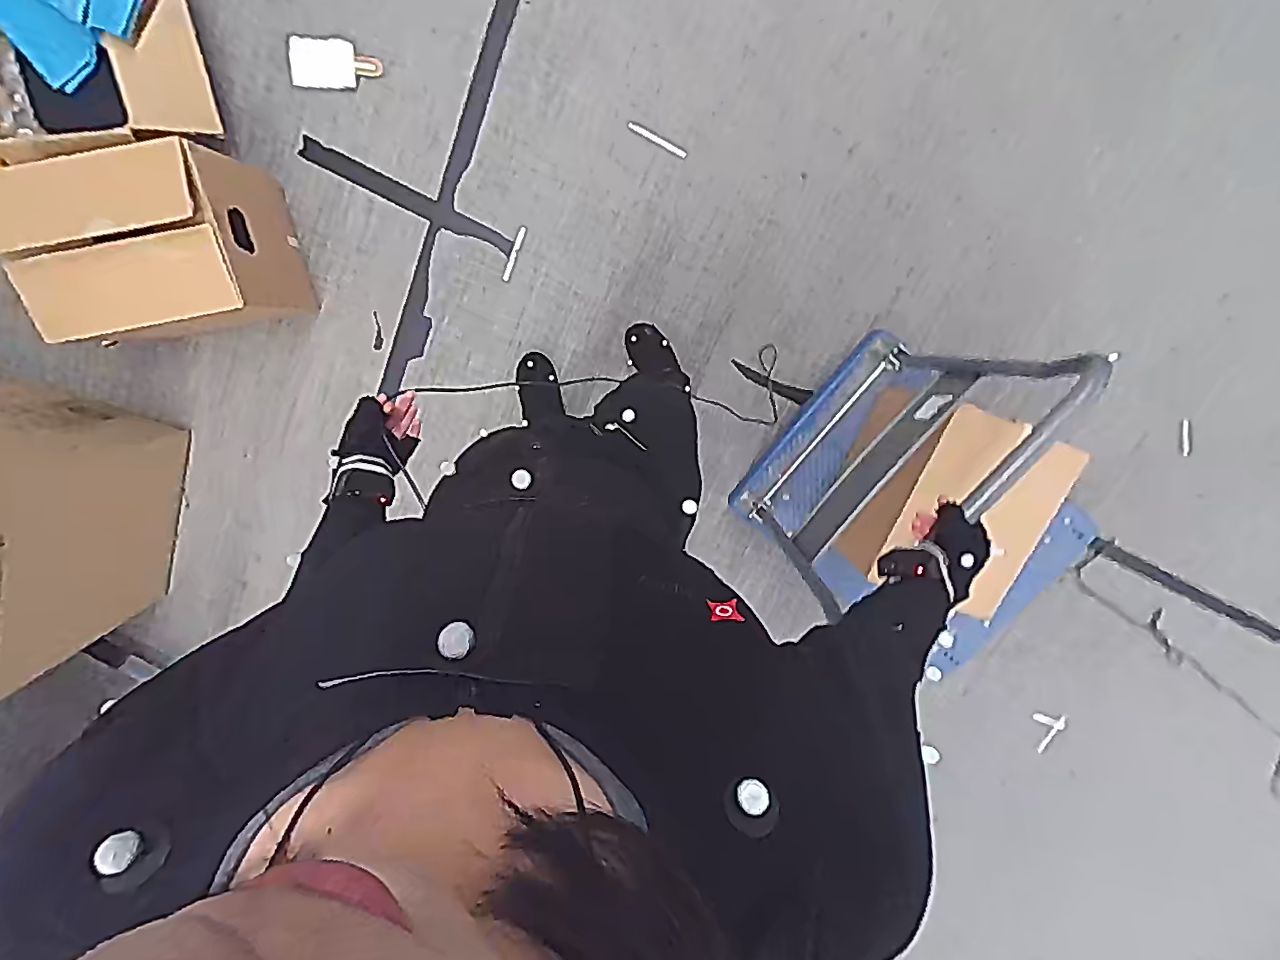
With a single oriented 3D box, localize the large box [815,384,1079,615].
[{"bbox_3d":[0.672,0.028,1.256,0.320,0.320,0.408,19,105,-8],"label":"large box"}]
